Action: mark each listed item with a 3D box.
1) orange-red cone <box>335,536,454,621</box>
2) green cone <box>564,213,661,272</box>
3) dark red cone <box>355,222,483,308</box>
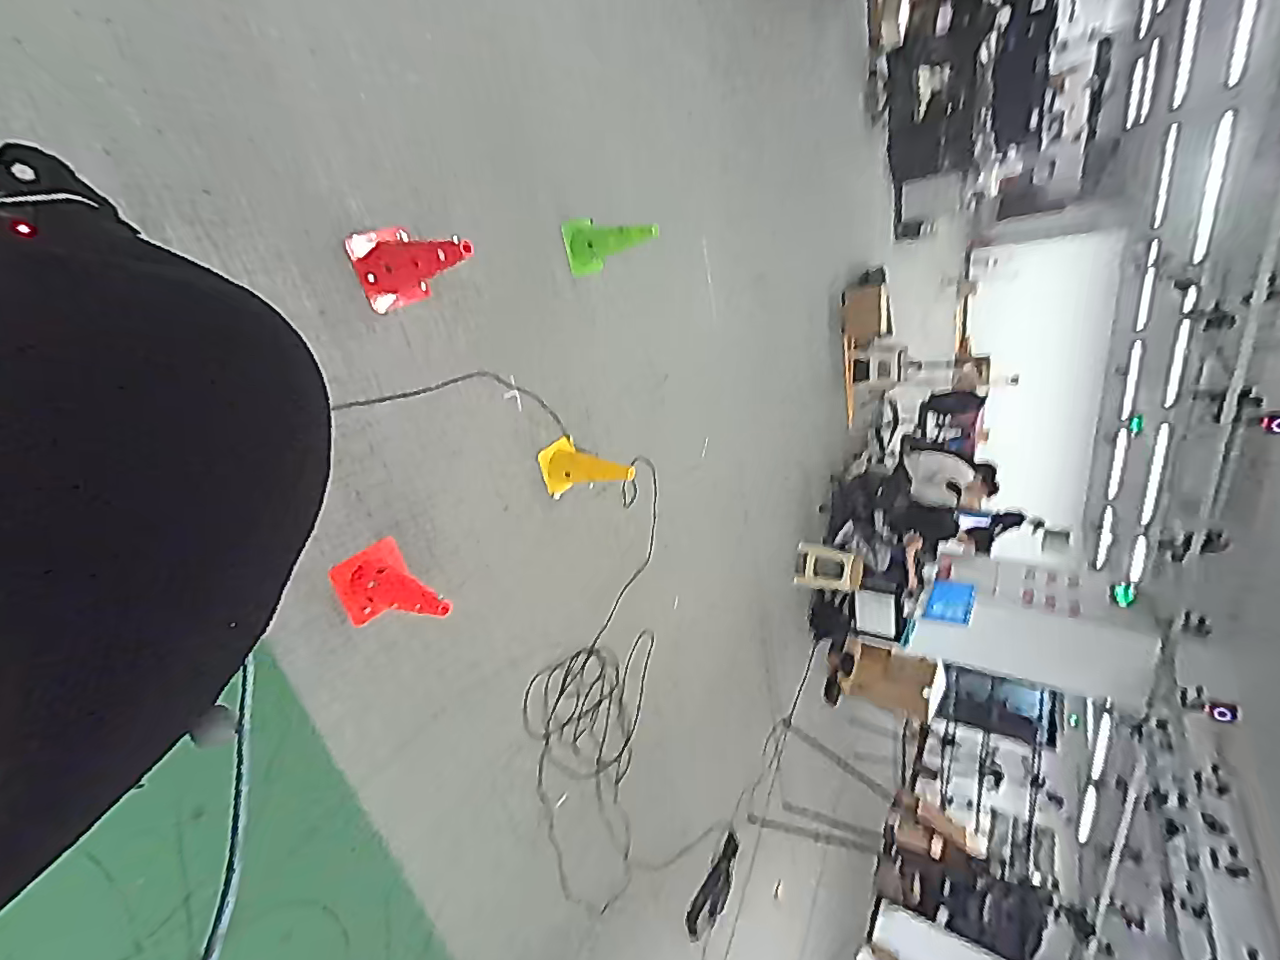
[{"bbox_3d":[-0.629,0.301,1.476,0.199,0.360,0.198,-37,125,-46],"label":"orange-red cone"},{"bbox_3d":[-0.082,-0.923,2.040,0.200,0.368,0.202,-39,126,-44],"label":"green cone"},{"bbox_3d":[-0.546,-0.587,1.416,0.201,0.394,0.202,-42,127,-41],"label":"dark red cone"}]
